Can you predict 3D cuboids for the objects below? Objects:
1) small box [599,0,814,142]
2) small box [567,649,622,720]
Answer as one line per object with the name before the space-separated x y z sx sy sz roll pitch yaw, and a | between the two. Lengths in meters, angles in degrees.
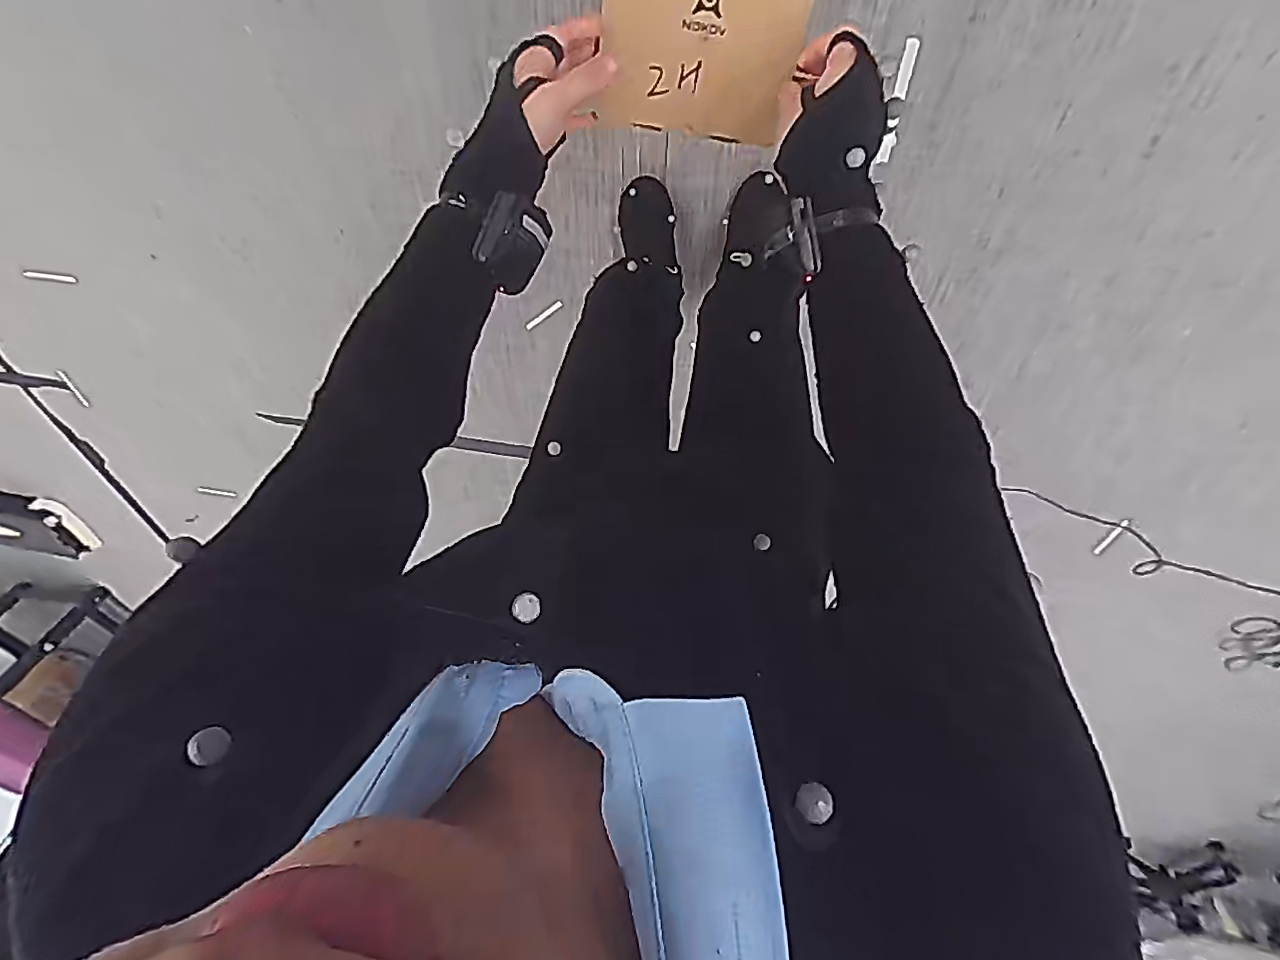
small box | 0.057 -0.436 0.480 0.168 0.176 0.179 7 139 -4
small box | -0.158 0.737 1.949 0.168 0.176 0.179 6 133 6
